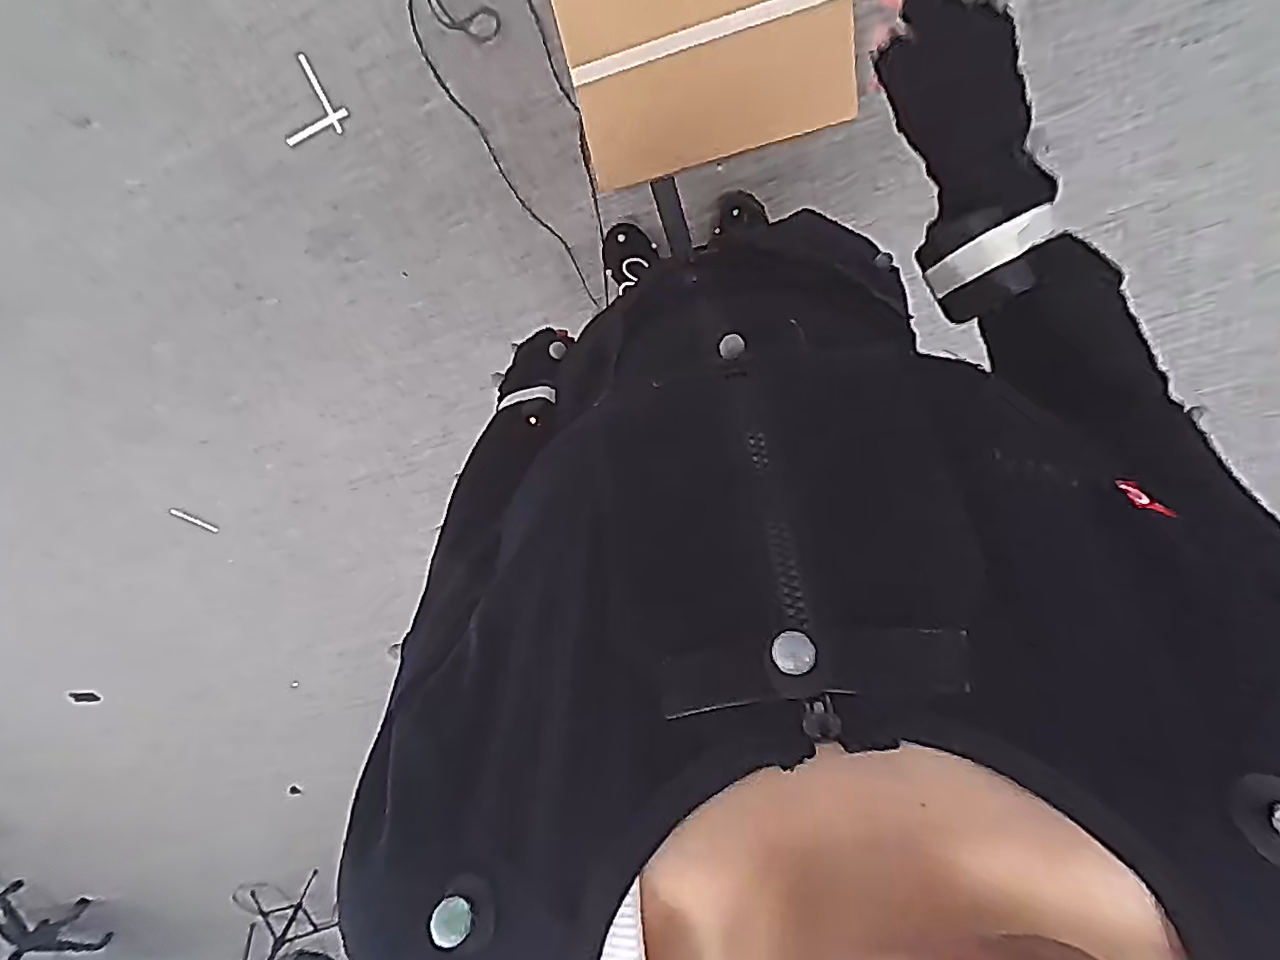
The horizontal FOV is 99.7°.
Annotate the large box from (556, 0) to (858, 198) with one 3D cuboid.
[{"bbox_3d":[0.107,-0.698,0.912,0.408,0.320,0.320,-11,118,9],"label":"large box"}]
